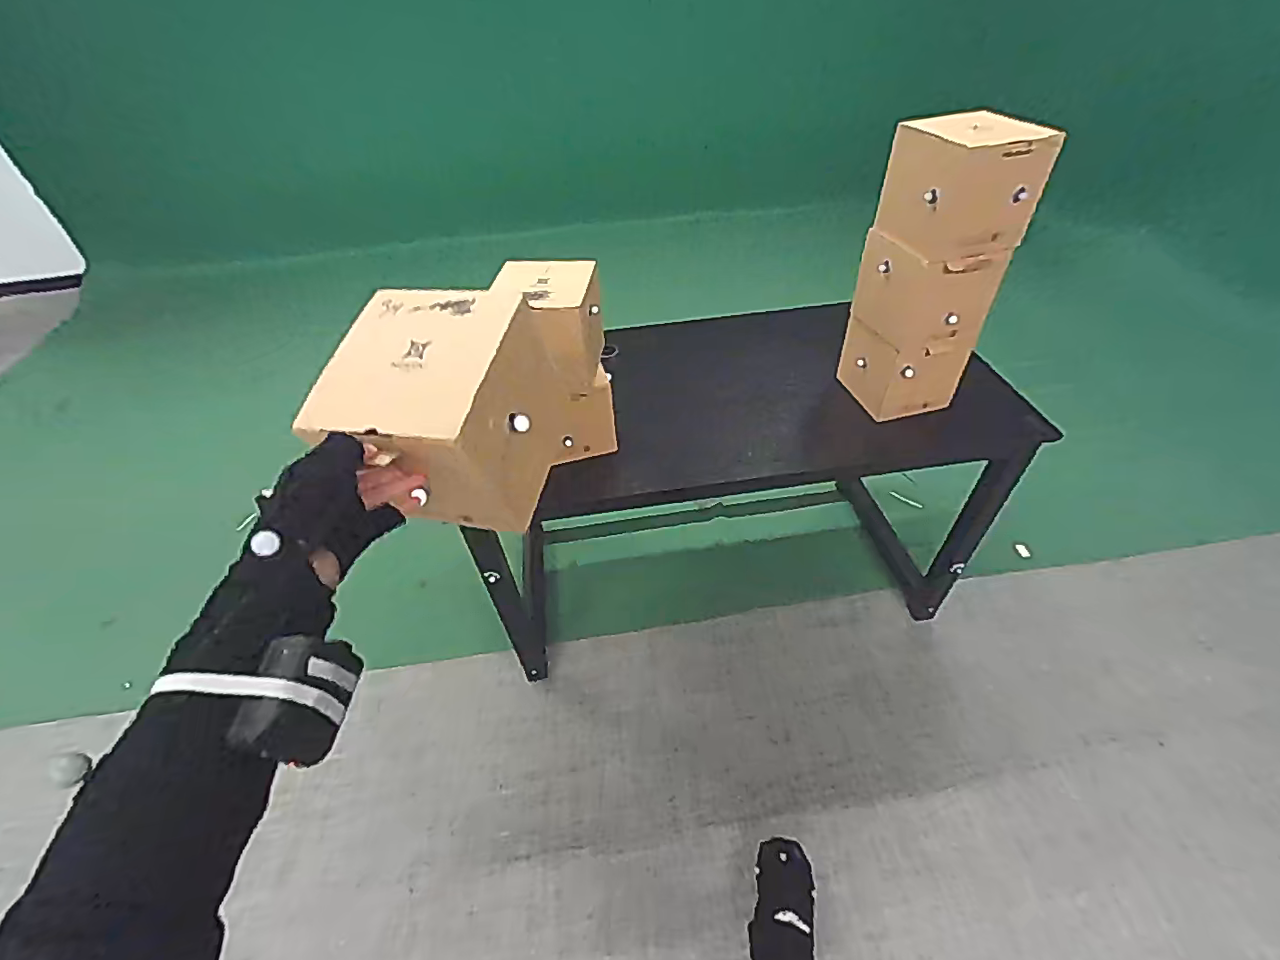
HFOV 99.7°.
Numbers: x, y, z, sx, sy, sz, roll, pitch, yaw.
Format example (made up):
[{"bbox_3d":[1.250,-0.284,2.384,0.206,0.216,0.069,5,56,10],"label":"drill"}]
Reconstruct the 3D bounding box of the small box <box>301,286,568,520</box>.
[{"bbox_3d":[-0.188,-0.074,0.556,0.168,0.176,0.179,6,62,14],"label":"small box"}]

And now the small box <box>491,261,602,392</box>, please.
[{"bbox_3d":[-0.164,-0.272,0.965,0.168,0.176,0.179,2,45,5],"label":"small box"}]

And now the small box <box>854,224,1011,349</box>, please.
[{"bbox_3d":[0.524,-0.367,1.003,0.168,0.176,0.179,-14,46,-8],"label":"small box"}]

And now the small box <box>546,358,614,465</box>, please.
[{"bbox_3d":[-0.152,-0.157,1.082,0.168,0.176,0.179,-13,47,-10],"label":"small box"}]

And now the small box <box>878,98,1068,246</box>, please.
[{"bbox_3d":[0.520,-0.495,0.877,0.168,0.176,0.179,-13,45,-9],"label":"small box"}]
